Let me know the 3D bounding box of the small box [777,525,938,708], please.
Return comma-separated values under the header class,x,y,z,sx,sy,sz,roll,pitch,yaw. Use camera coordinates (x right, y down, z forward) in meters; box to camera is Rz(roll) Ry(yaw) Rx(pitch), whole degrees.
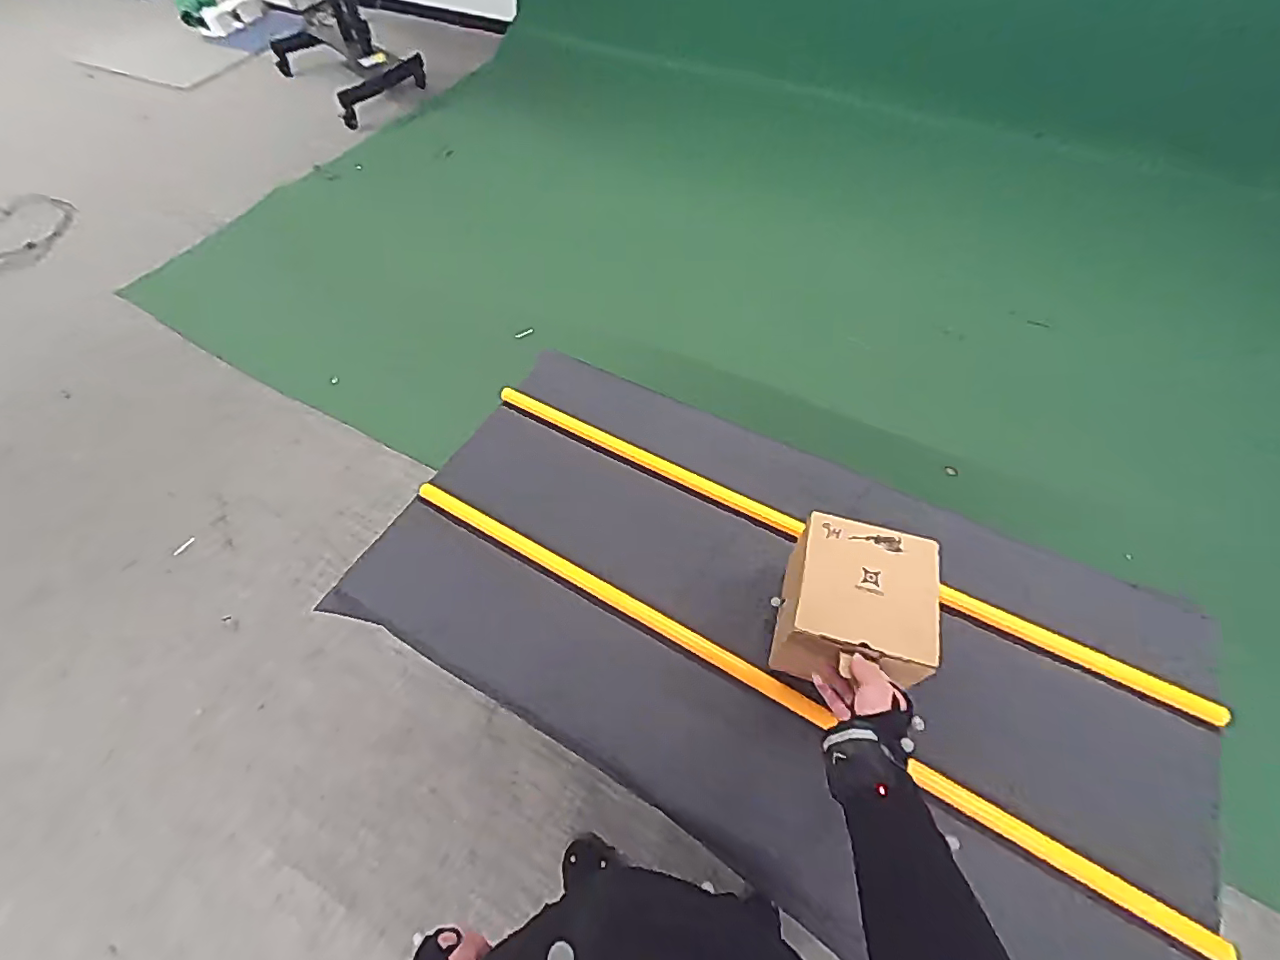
class,x,y,z,sx,sy,sz,roll,pitch,yaw
small box,0.290,0.192,0.743,0.168,0.176,0.179,12,55,11
